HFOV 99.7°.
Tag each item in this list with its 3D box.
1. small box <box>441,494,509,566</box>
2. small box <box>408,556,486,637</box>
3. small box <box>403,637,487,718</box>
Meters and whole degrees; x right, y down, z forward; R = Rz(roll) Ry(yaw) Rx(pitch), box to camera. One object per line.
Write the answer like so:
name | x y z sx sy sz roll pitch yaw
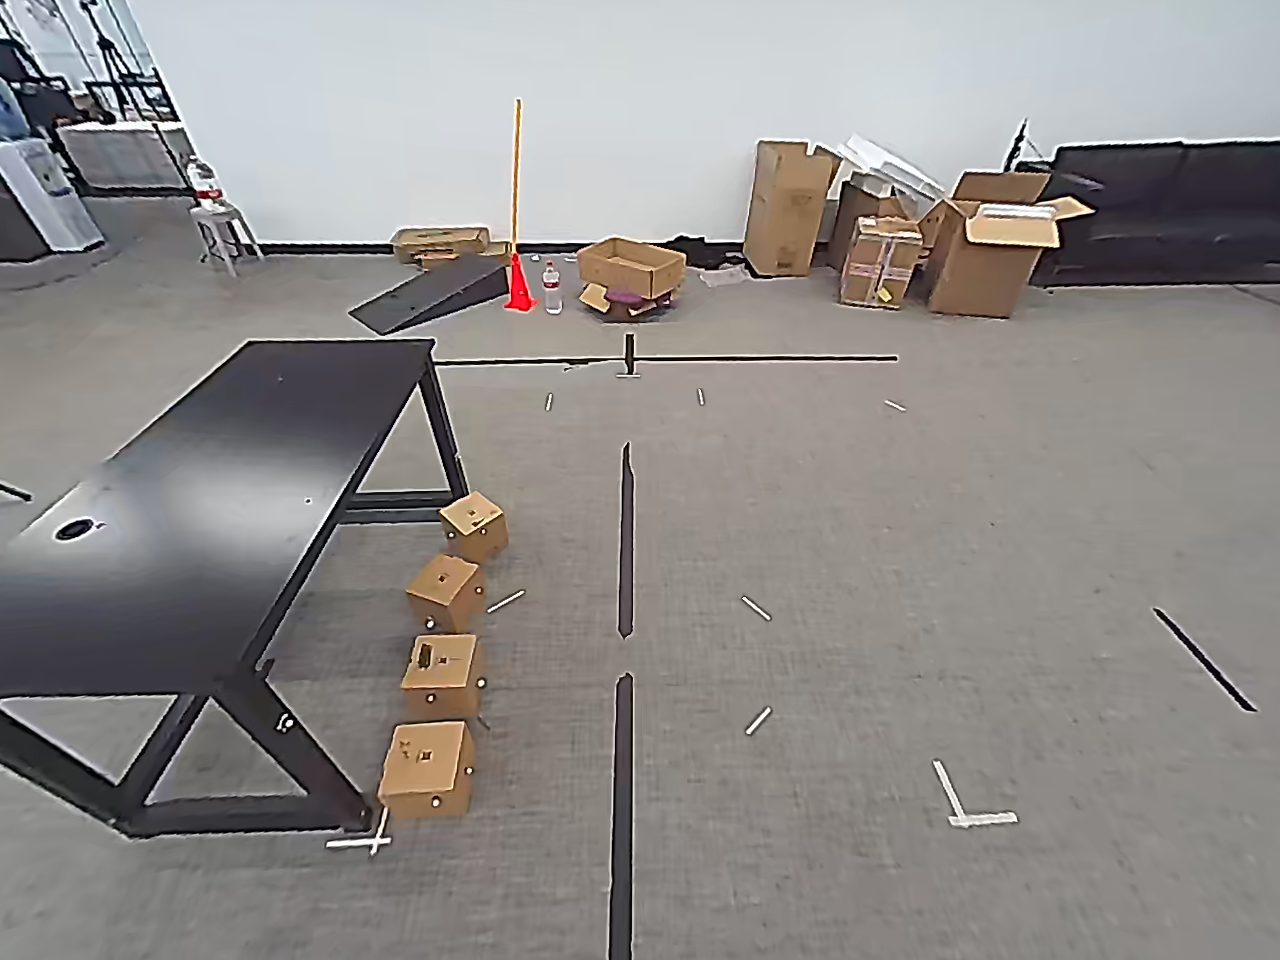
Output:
small box | -0.613 0.188 2.020 0.179 0.176 0.168 31 49 31
small box | -0.629 0.386 1.791 0.168 0.176 0.179 12 43 15
small box | -0.556 0.575 1.567 0.179 0.176 0.168 0 41 -3
